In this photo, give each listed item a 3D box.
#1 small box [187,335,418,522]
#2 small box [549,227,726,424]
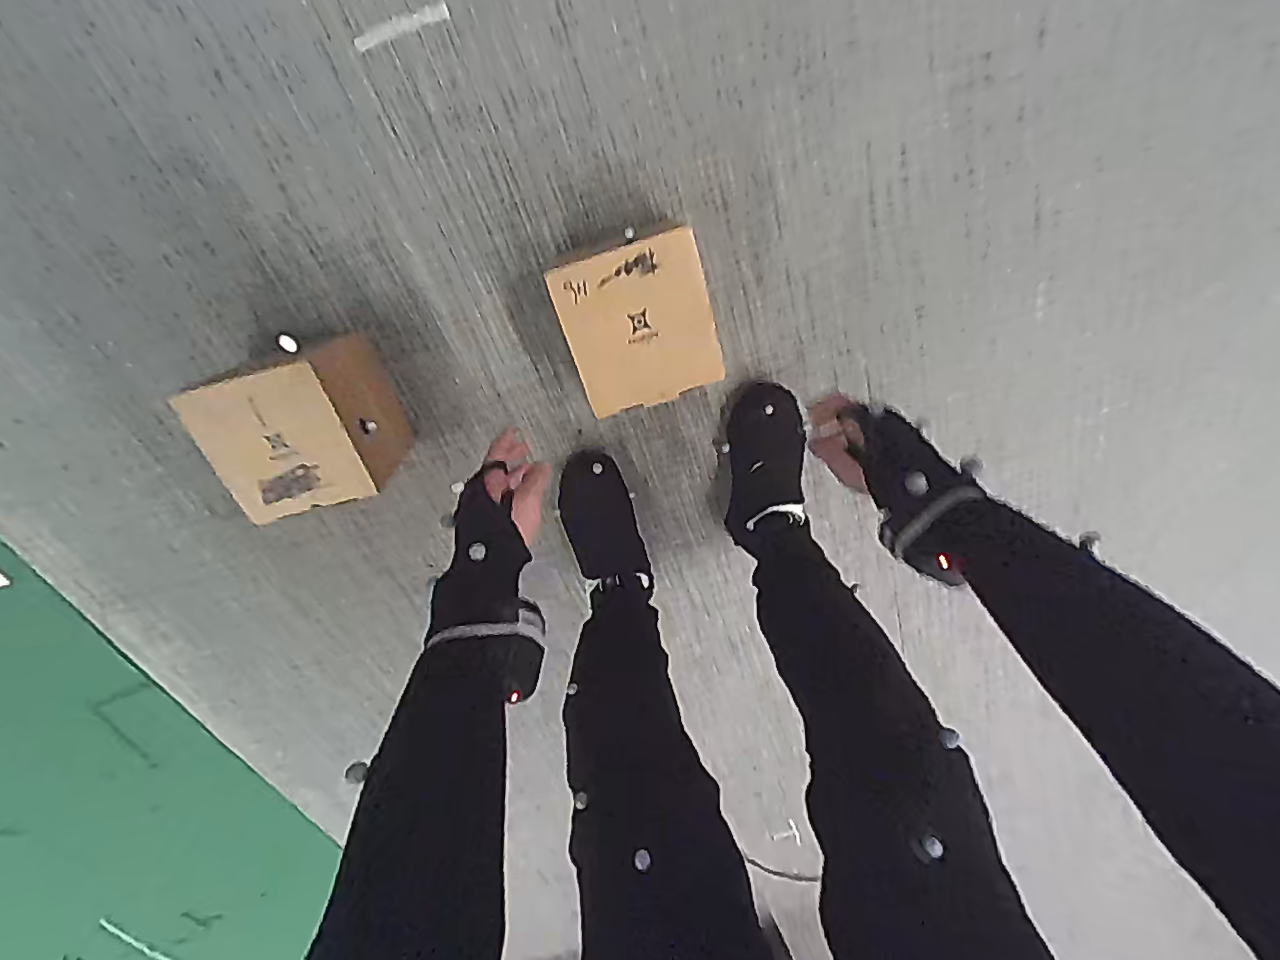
[{"bbox_3d":[-0.420,-0.074,0.716,0.168,0.176,0.179,-15,117,1],"label":"small box"},{"bbox_3d":[-0.003,-0.198,0.675,0.168,0.176,0.179,-17,118,3],"label":"small box"}]
